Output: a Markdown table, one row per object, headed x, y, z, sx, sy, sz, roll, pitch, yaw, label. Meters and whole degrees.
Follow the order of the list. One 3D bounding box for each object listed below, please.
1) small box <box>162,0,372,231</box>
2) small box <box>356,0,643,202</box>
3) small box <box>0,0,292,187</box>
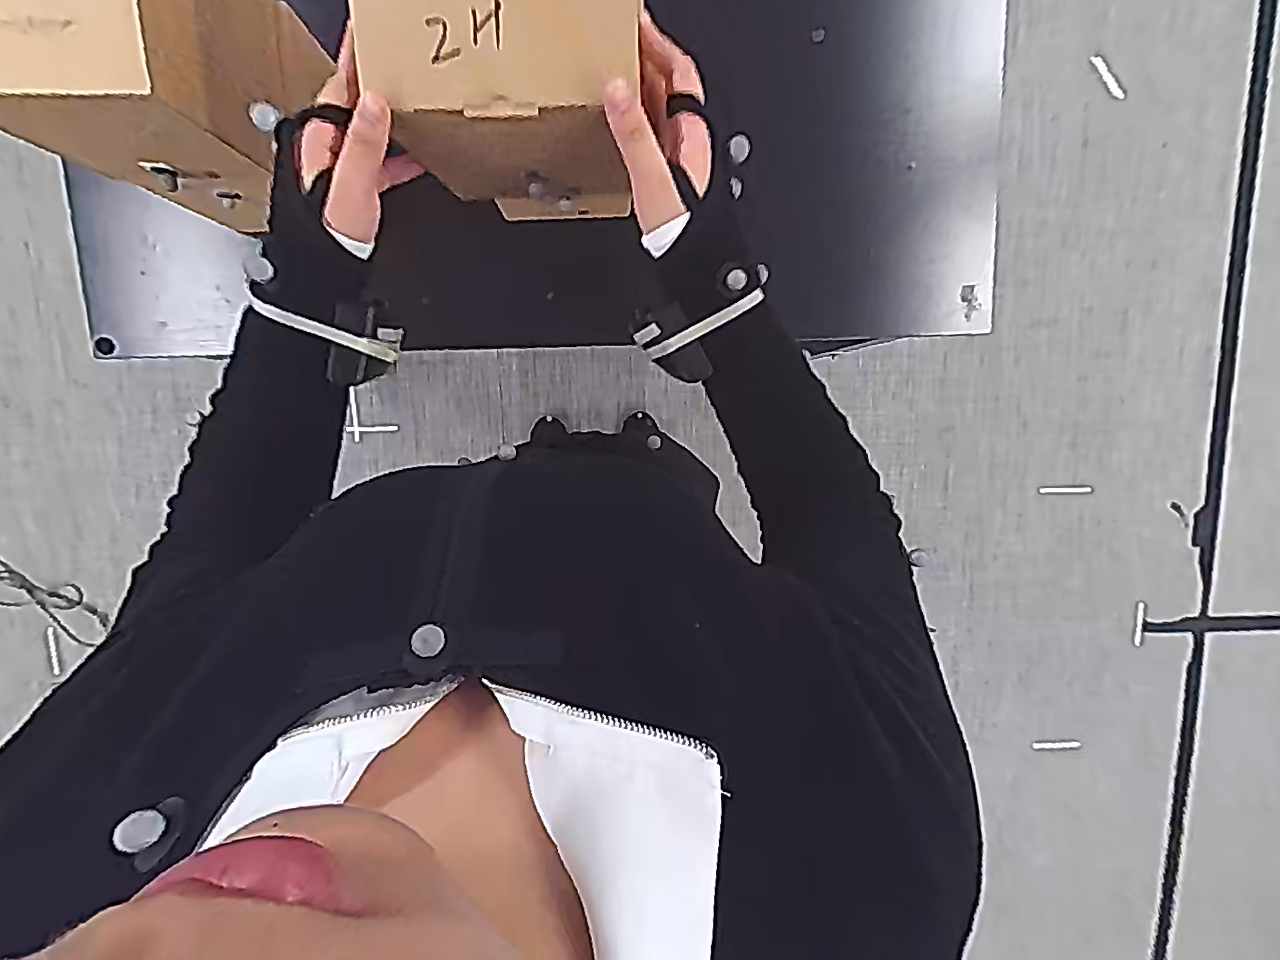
| x | y | z | sx | sy | sz | roll | pitch | yaw | label |
| --- | --- | --- | --- | --- | --- | --- | --- | --- | --- |
| -0.431 | -0.394 | 0.611 | 0.179 | 0.176 | 0.168 | -1 | 98 | -4 | small box |
| -0.082 | -0.321 | 0.388 | 0.168 | 0.176 | 0.179 | 0 | 100 | 1 | small box |
| -0.426 | -0.371 | 0.450 | 0.168 | 0.176 | 0.179 | -2 | 98 | -1 | small box |
